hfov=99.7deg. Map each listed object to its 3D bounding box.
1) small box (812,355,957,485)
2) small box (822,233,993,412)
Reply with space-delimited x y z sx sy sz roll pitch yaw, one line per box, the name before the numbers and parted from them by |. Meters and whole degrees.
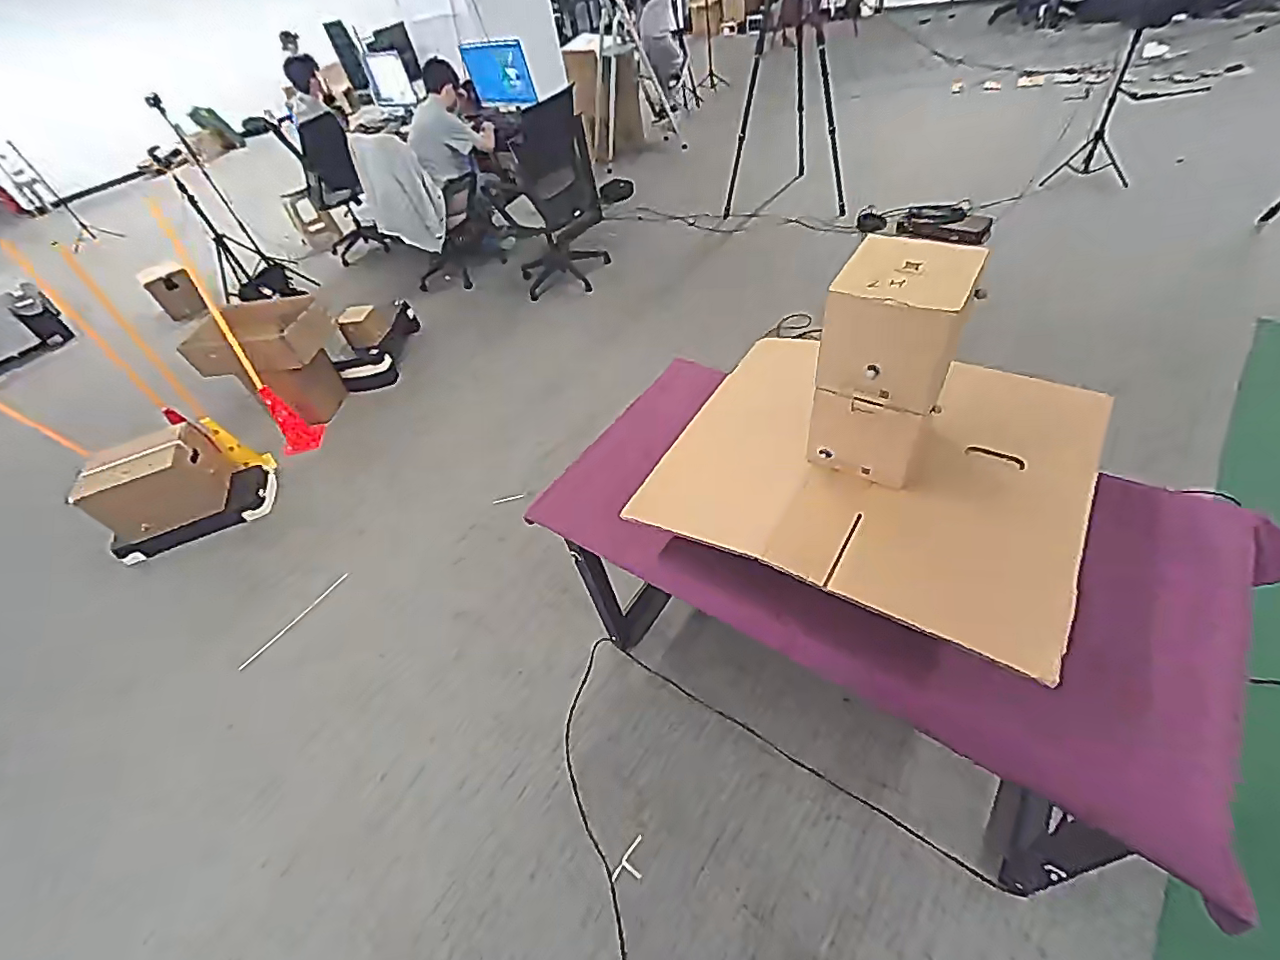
small box | 0.401 -0.120 0.909 0.168 0.176 0.179 23 56 27
small box | 0.379 -0.230 0.789 0.168 0.176 0.179 22 57 27
